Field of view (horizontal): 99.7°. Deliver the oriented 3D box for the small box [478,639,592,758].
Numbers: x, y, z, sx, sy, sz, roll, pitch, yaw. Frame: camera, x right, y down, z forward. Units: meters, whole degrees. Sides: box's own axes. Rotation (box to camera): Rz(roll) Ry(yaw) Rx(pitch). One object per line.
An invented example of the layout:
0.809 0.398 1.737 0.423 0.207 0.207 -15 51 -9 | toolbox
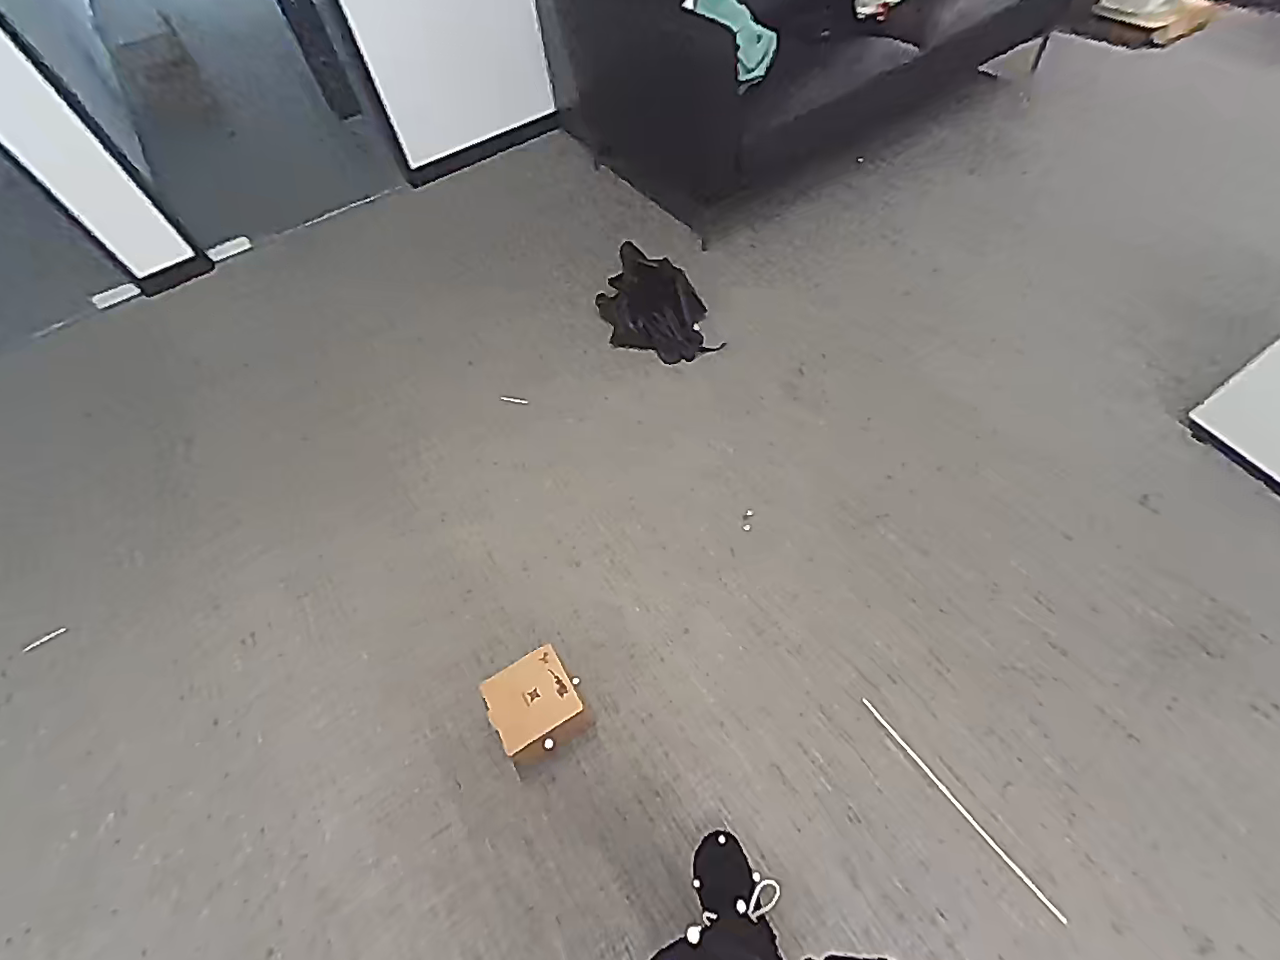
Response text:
-0.225 0.487 1.194 0.179 0.176 0.168 -29 60 -12 | small box
